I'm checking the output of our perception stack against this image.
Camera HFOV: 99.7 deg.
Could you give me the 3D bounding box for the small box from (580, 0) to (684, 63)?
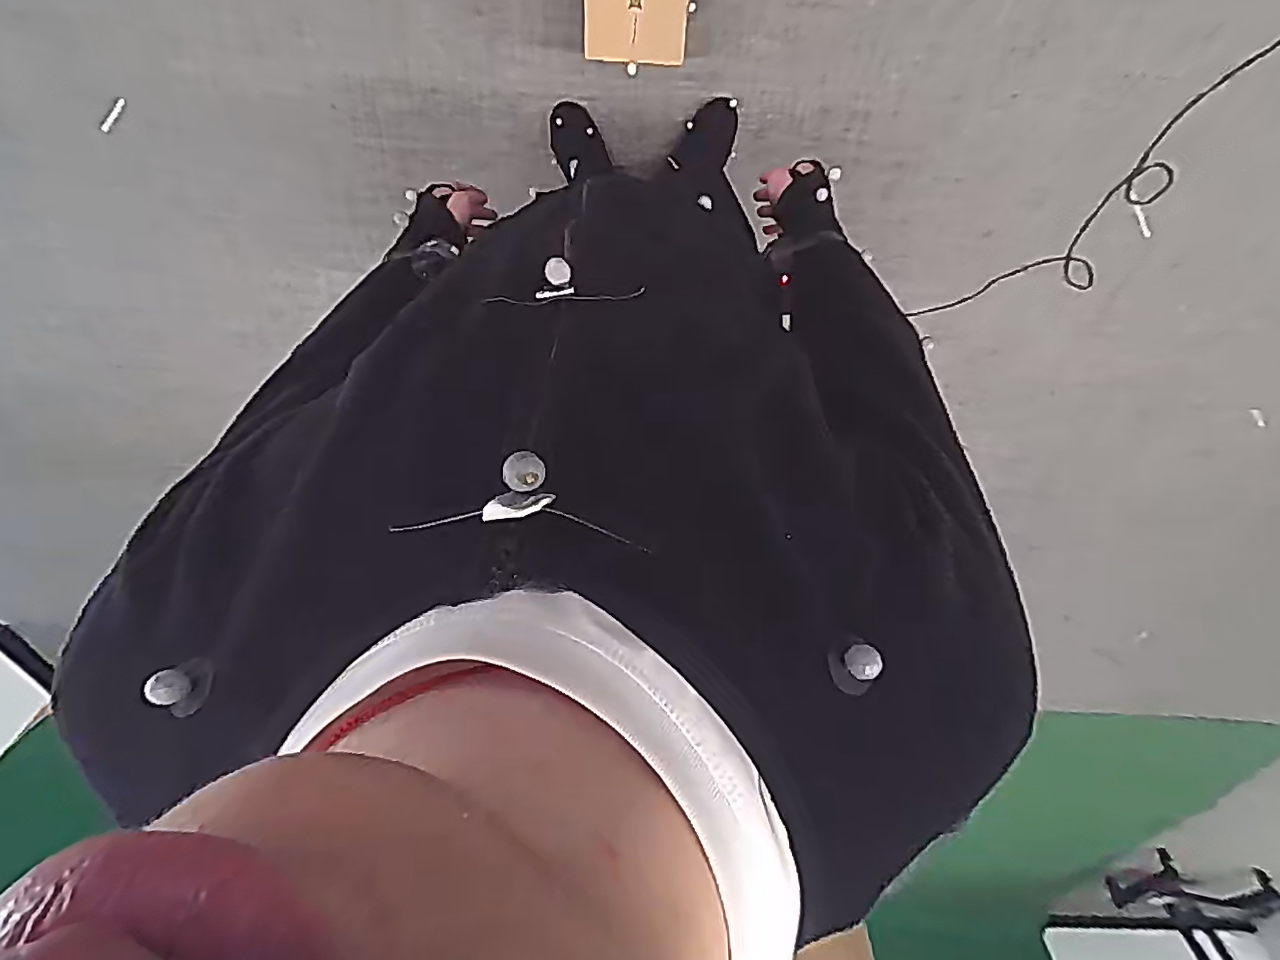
[{"bbox_3d":[-0.012,-0.814,0.905,0.168,0.176,0.179,3,128,-1],"label":"small box"}]
